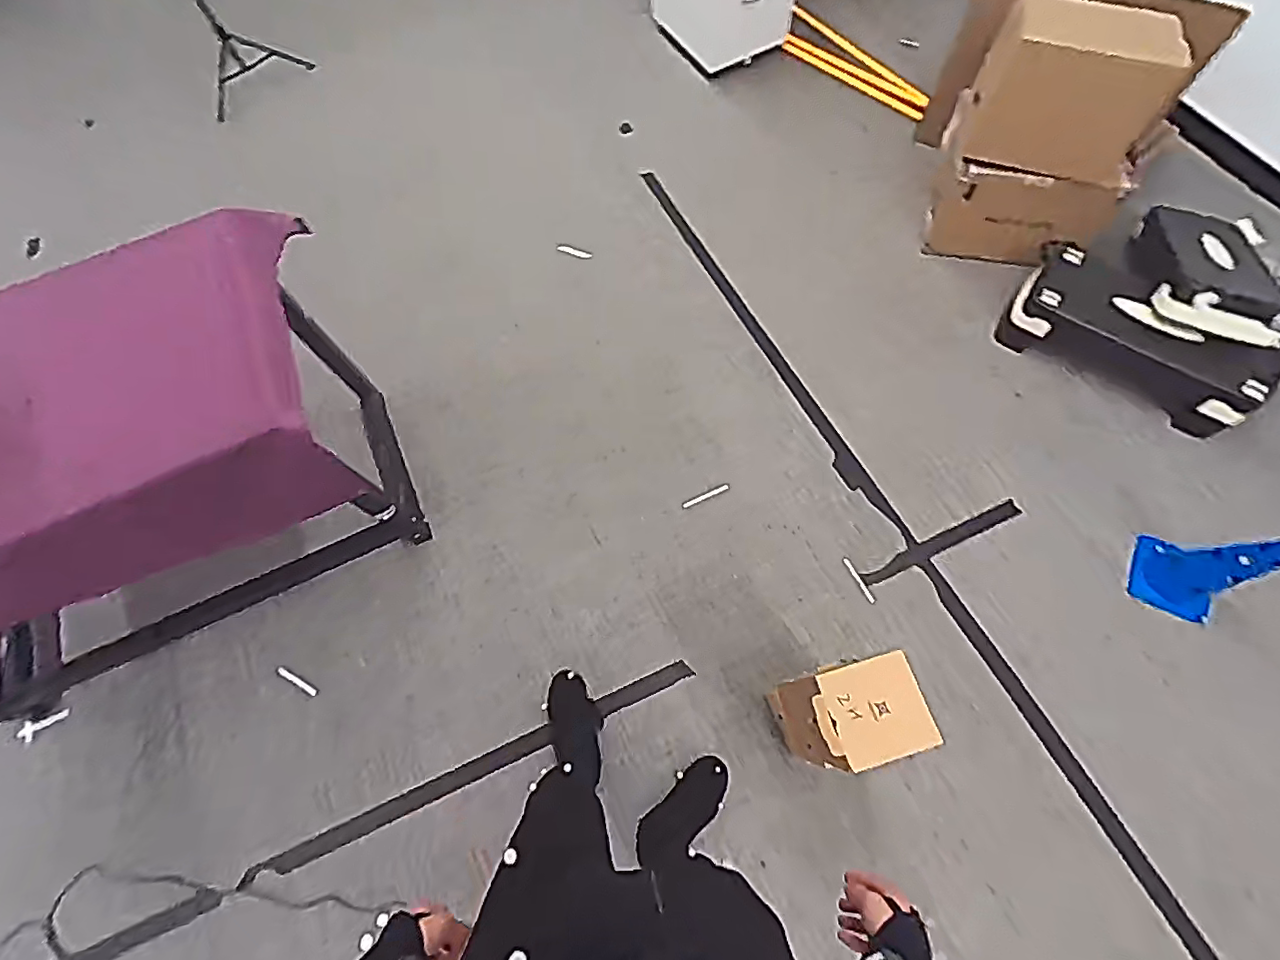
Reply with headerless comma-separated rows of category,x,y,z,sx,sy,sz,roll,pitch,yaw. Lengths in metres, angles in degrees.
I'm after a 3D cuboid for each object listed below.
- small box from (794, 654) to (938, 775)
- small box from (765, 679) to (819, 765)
small box,0.418,0.440,1.033,0.179,0.176,0.168,-15,68,-3
small box,0.423,0.580,1.333,0.179,0.176,0.168,-20,68,-6
